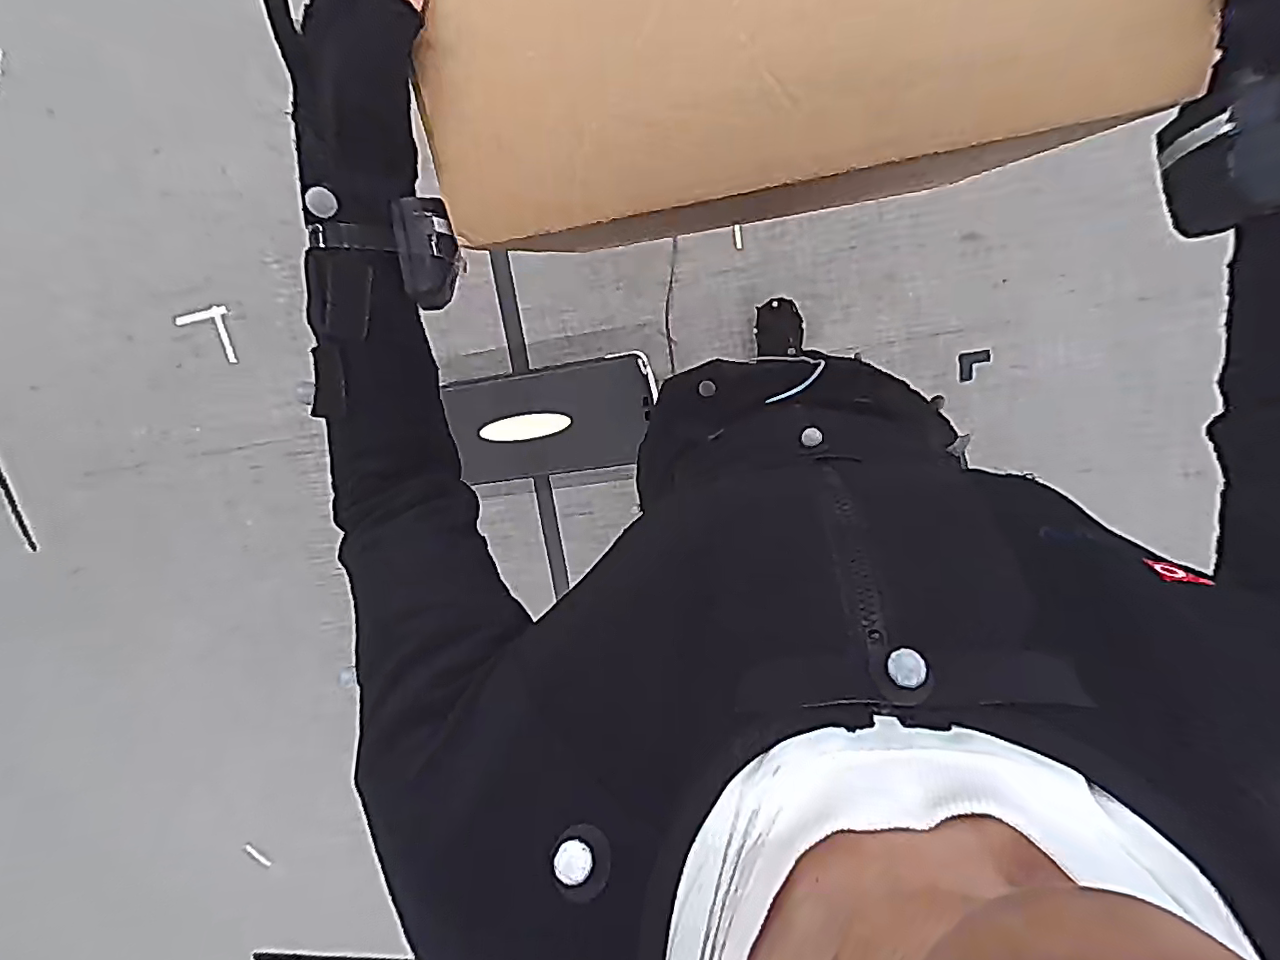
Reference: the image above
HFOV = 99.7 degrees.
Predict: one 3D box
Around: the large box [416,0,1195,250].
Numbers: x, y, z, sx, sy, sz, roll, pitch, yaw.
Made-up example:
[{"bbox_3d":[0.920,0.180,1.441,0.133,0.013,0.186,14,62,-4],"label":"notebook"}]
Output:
[{"bbox_3d":[0.078,-0.377,0.402,0.408,0.320,0.320,-7,111,11],"label":"large box"}]
